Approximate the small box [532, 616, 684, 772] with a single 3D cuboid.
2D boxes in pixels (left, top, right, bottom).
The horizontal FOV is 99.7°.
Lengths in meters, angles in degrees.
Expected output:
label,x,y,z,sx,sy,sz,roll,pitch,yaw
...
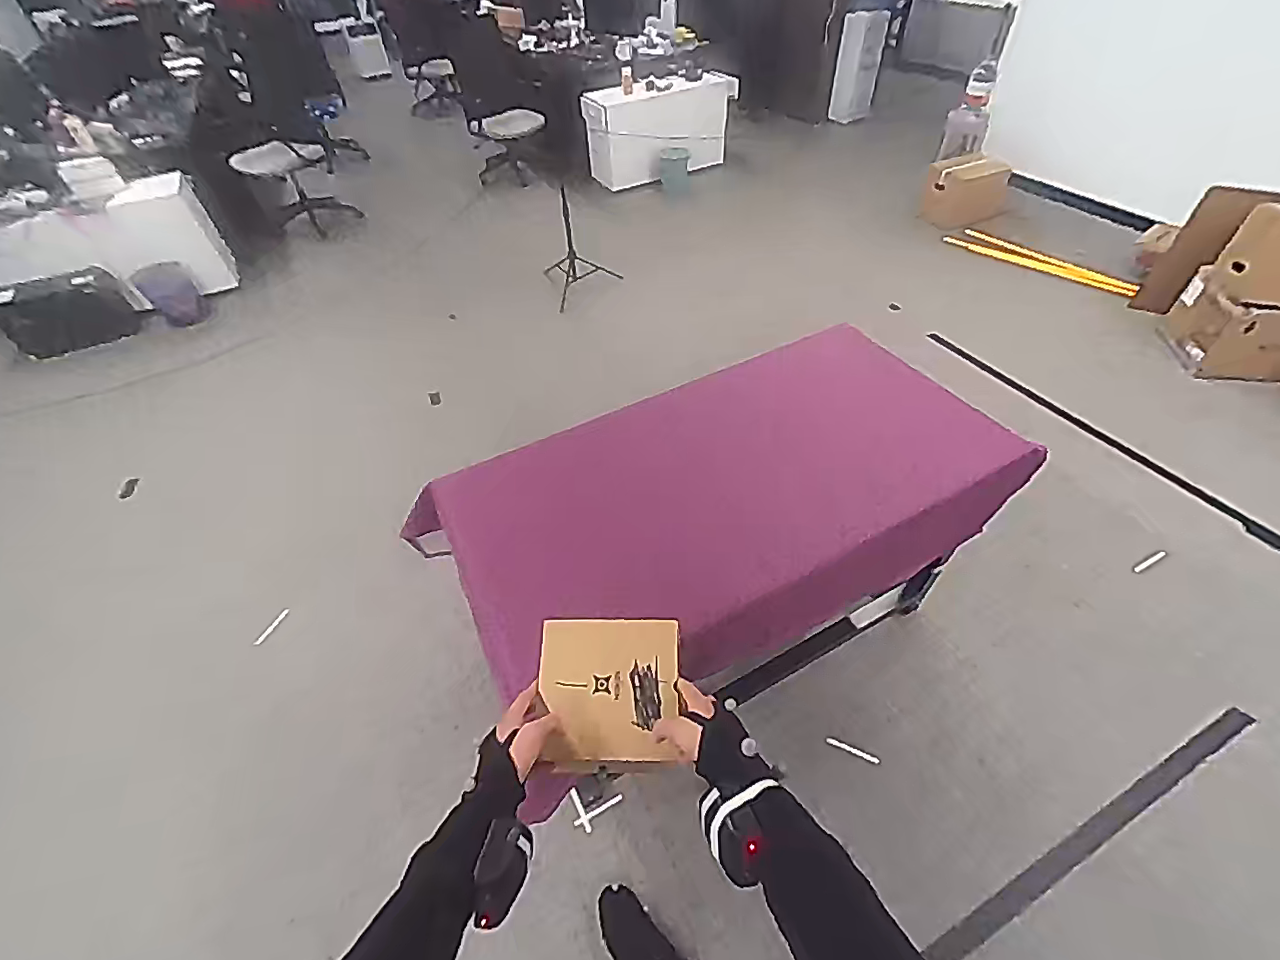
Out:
label,x,y,z,sx,sy,sz,roll,pitch,yaw
small box,-0.036,0.292,0.730,0.179,0.176,0.168,1,57,1
